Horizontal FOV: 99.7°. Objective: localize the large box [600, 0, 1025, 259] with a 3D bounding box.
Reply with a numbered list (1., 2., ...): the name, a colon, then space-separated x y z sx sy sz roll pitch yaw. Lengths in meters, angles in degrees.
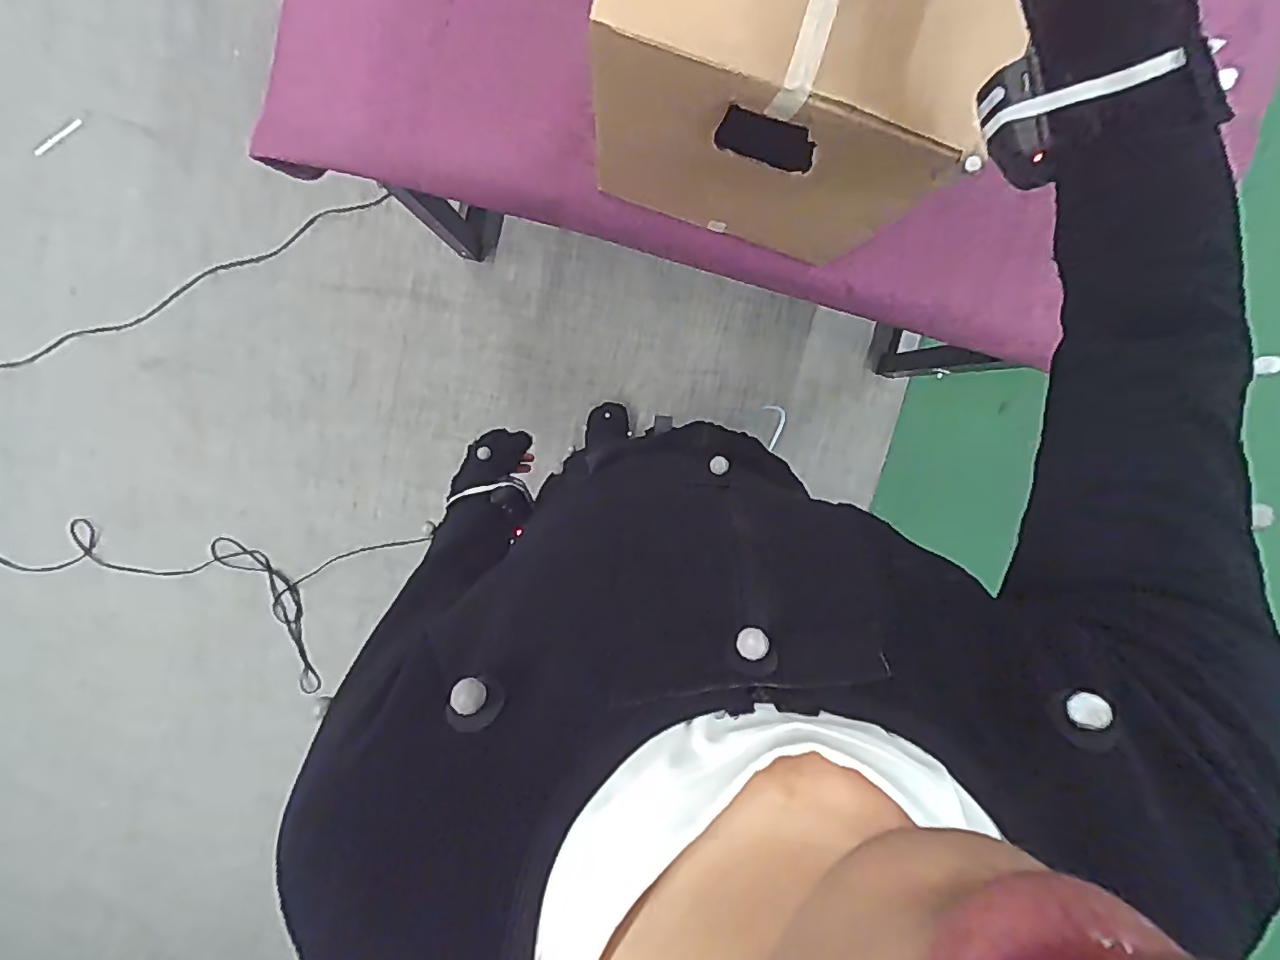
1. large box: 0.160 -0.499 0.538 0.320 0.320 0.408 17 97 -5
